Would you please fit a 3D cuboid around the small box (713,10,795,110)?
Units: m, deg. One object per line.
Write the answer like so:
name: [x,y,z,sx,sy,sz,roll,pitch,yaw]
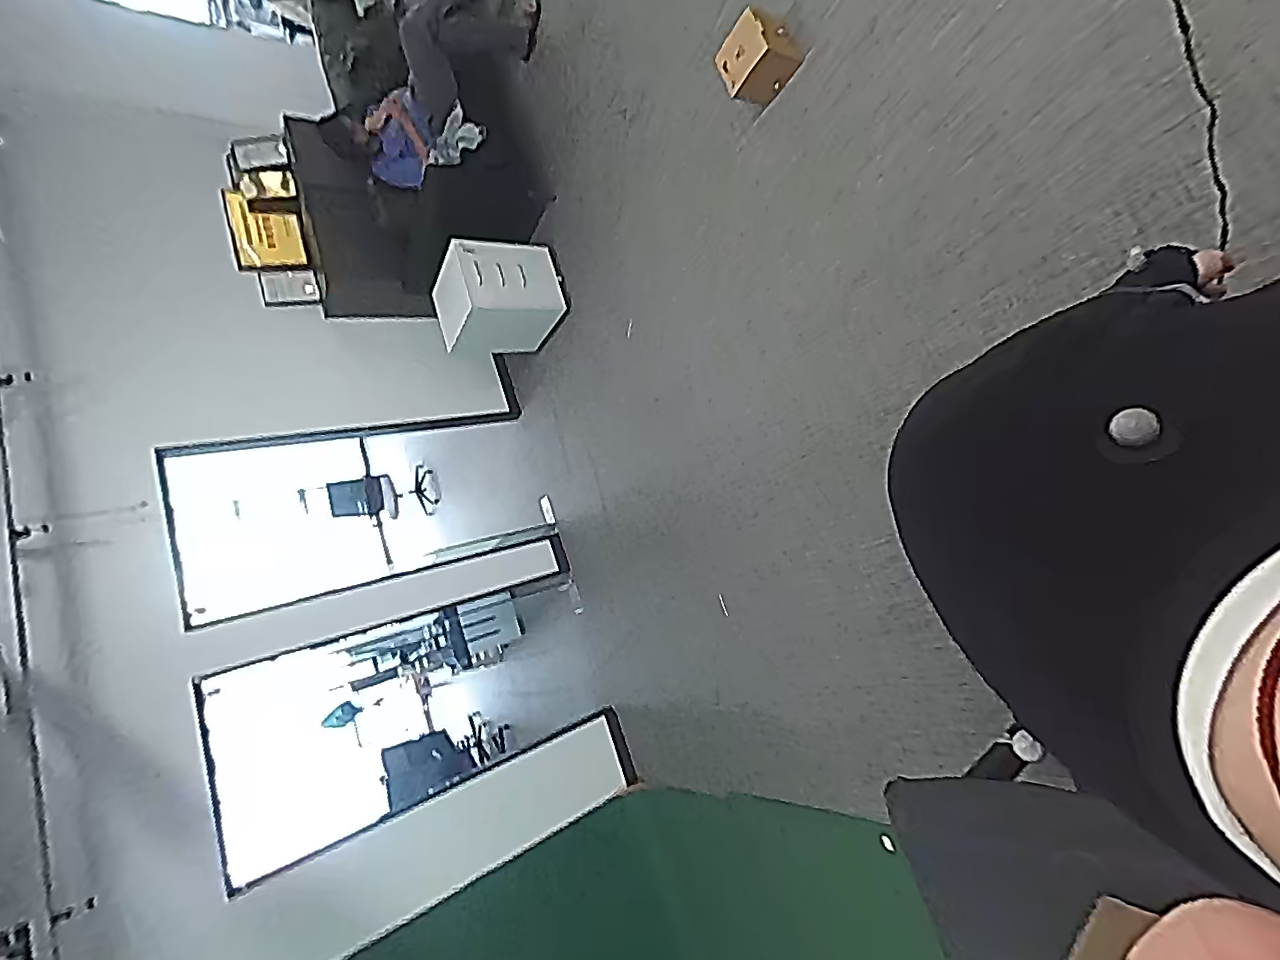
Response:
small box: [0.375,-1.350,1.750,0.179,0.176,0.168,-32,73,54]
